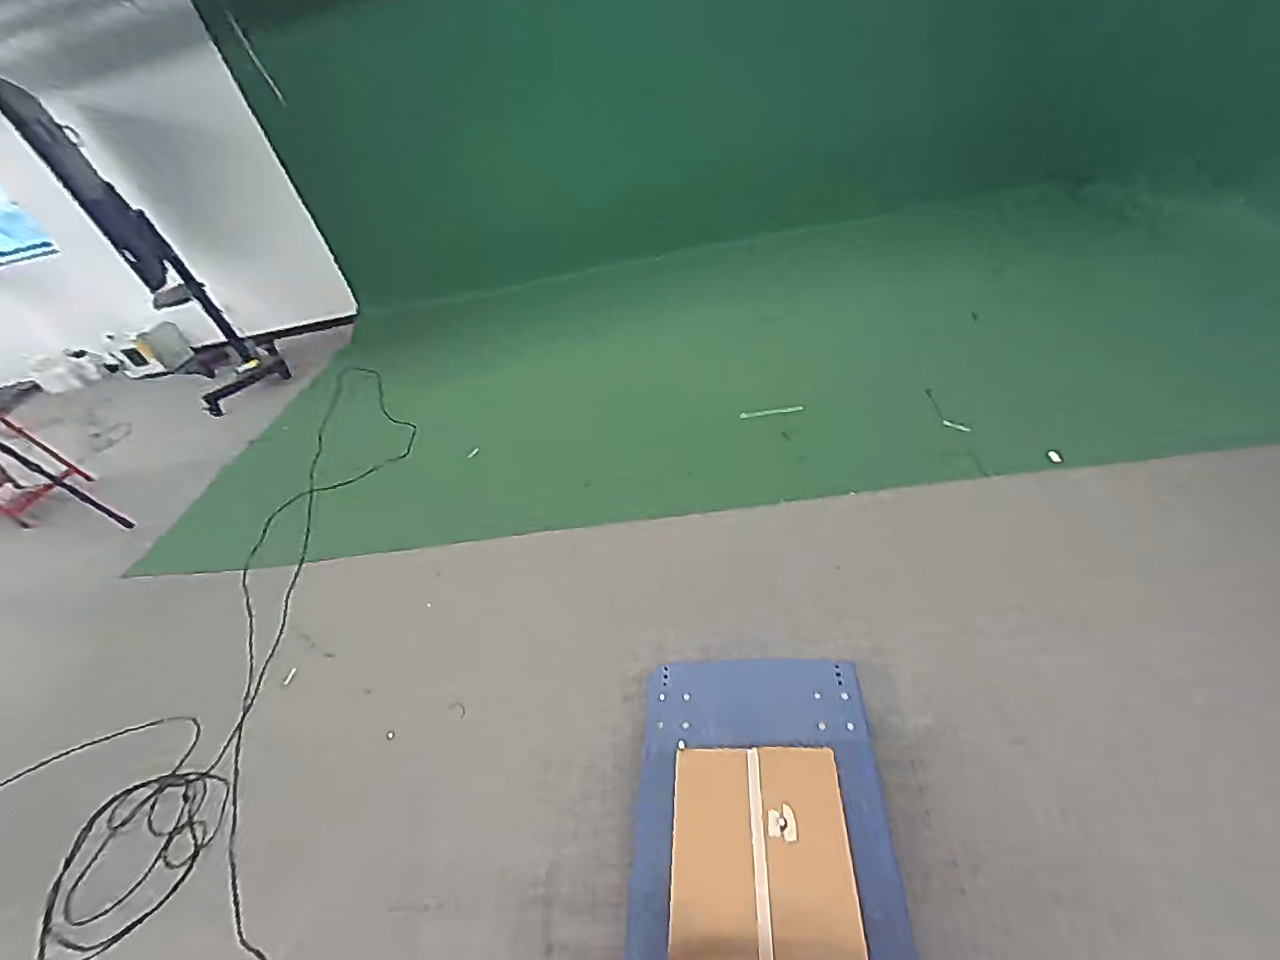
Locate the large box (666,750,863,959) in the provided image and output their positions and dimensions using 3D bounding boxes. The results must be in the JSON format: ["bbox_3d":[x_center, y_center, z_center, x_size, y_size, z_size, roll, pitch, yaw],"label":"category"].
[{"bbox_3d":[0.236,0.797,1.048,0.320,0.320,0.408,-5,39,12],"label":"large box"}]
